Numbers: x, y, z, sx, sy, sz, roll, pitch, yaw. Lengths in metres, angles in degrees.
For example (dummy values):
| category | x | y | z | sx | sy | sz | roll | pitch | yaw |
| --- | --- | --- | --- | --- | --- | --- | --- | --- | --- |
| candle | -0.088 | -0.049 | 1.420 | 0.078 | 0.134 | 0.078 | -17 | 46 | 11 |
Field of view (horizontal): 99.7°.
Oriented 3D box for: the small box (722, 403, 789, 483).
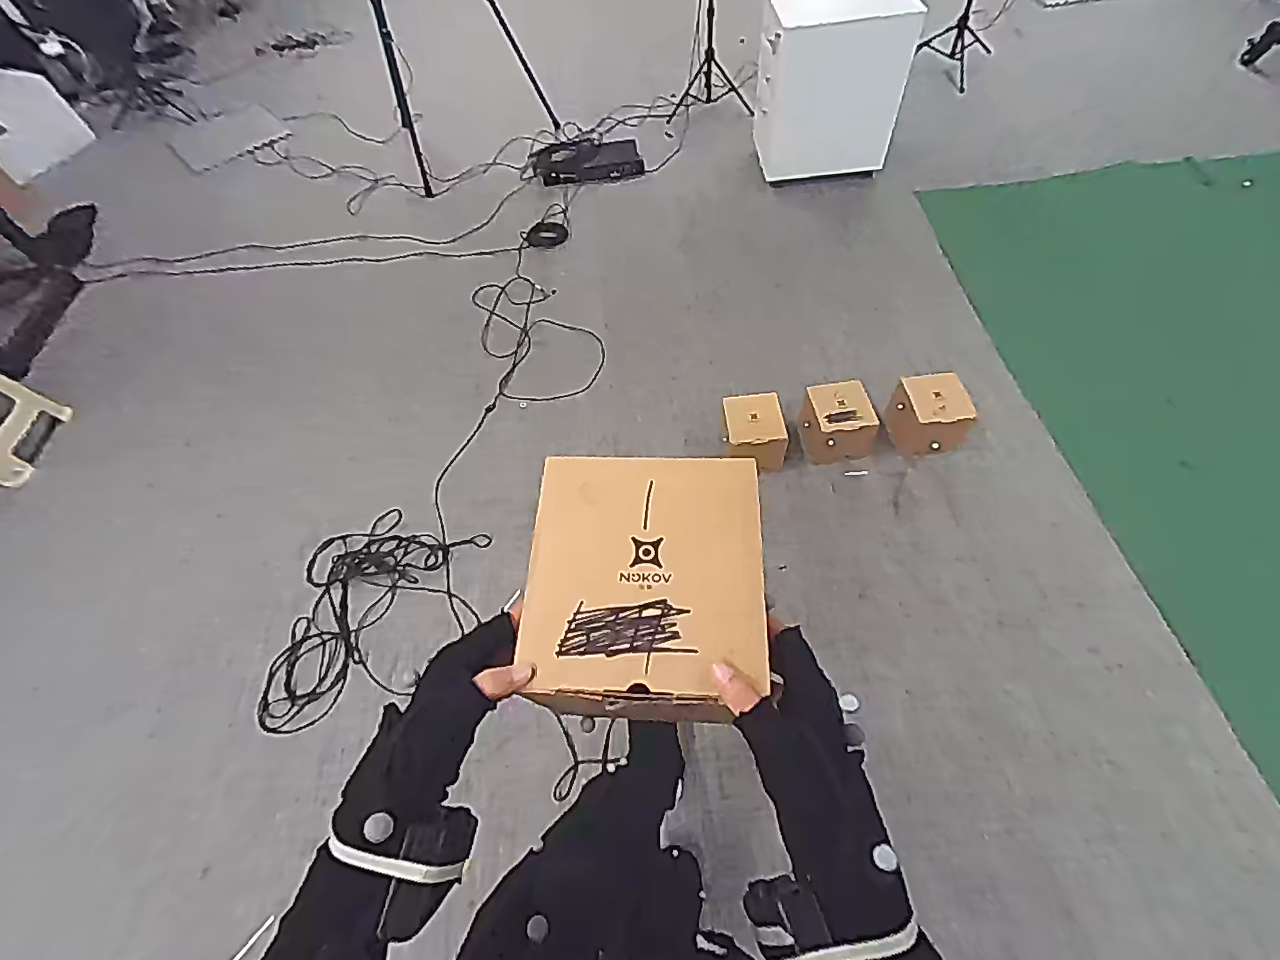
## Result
| category | x | y | z | sx | sy | sz | roll | pitch | yaw |
| --- | --- | --- | --- | --- | --- | --- | --- | --- | --- |
| small box | 0.348 | -0.112 | 1.661 | 0.168 | 0.176 | 0.179 | -6 | 58 | 3 |

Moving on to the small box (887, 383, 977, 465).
| category | x | y | z | sx | sy | sz | roll | pitch | yaw |
| --- | --- | --- | --- | --- | --- | --- | --- | --- | --- |
| small box | 0.875 | -0.168 | 1.645 | 0.168 | 0.176 | 0.179 | -6 | 58 | 3 |
